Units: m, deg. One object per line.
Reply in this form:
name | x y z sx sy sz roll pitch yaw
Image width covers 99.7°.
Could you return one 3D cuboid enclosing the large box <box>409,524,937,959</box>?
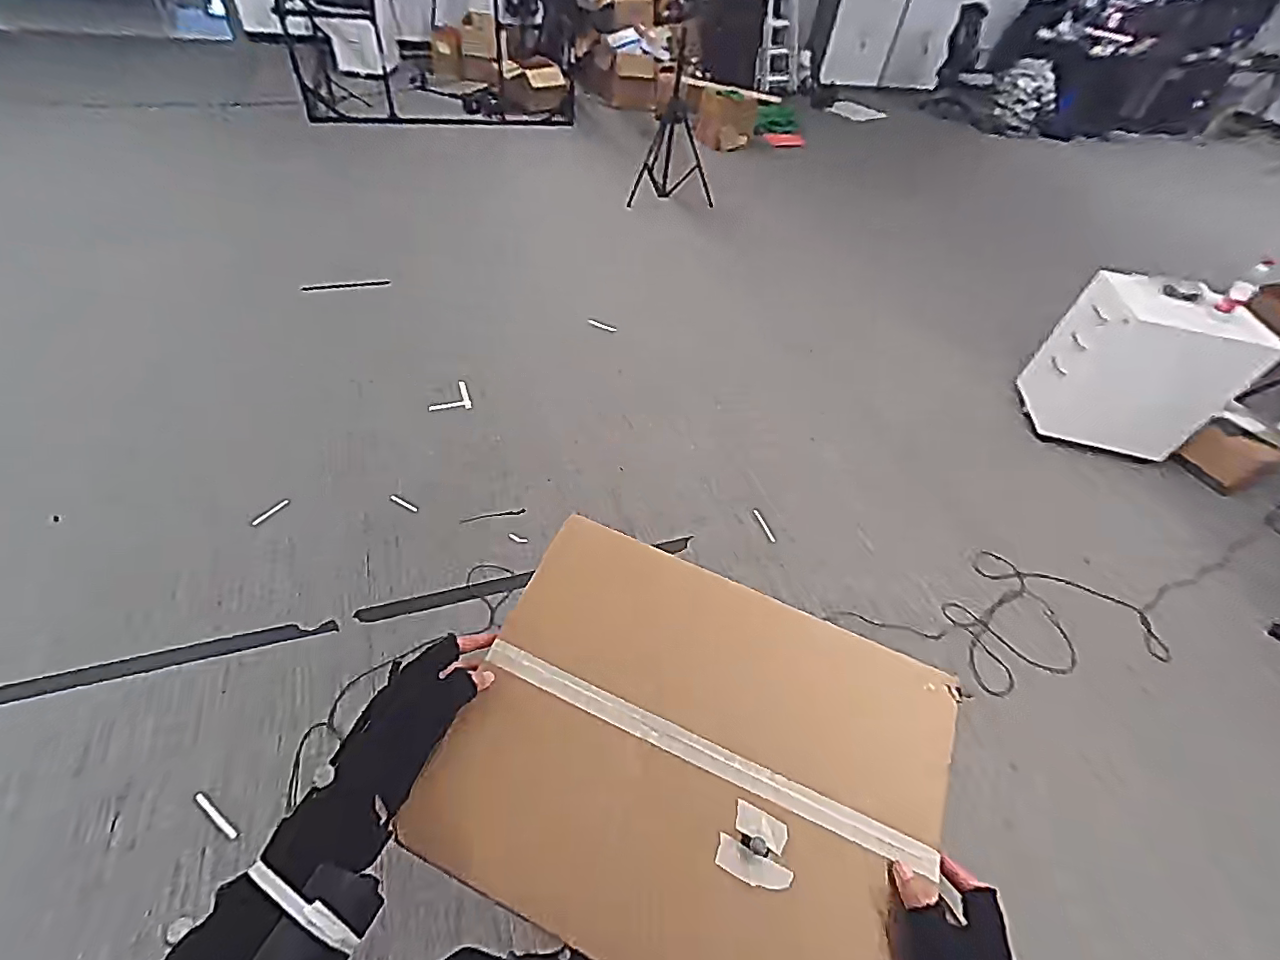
large box | 0.039 0.310 0.608 0.408 0.320 0.320 22 61 10
